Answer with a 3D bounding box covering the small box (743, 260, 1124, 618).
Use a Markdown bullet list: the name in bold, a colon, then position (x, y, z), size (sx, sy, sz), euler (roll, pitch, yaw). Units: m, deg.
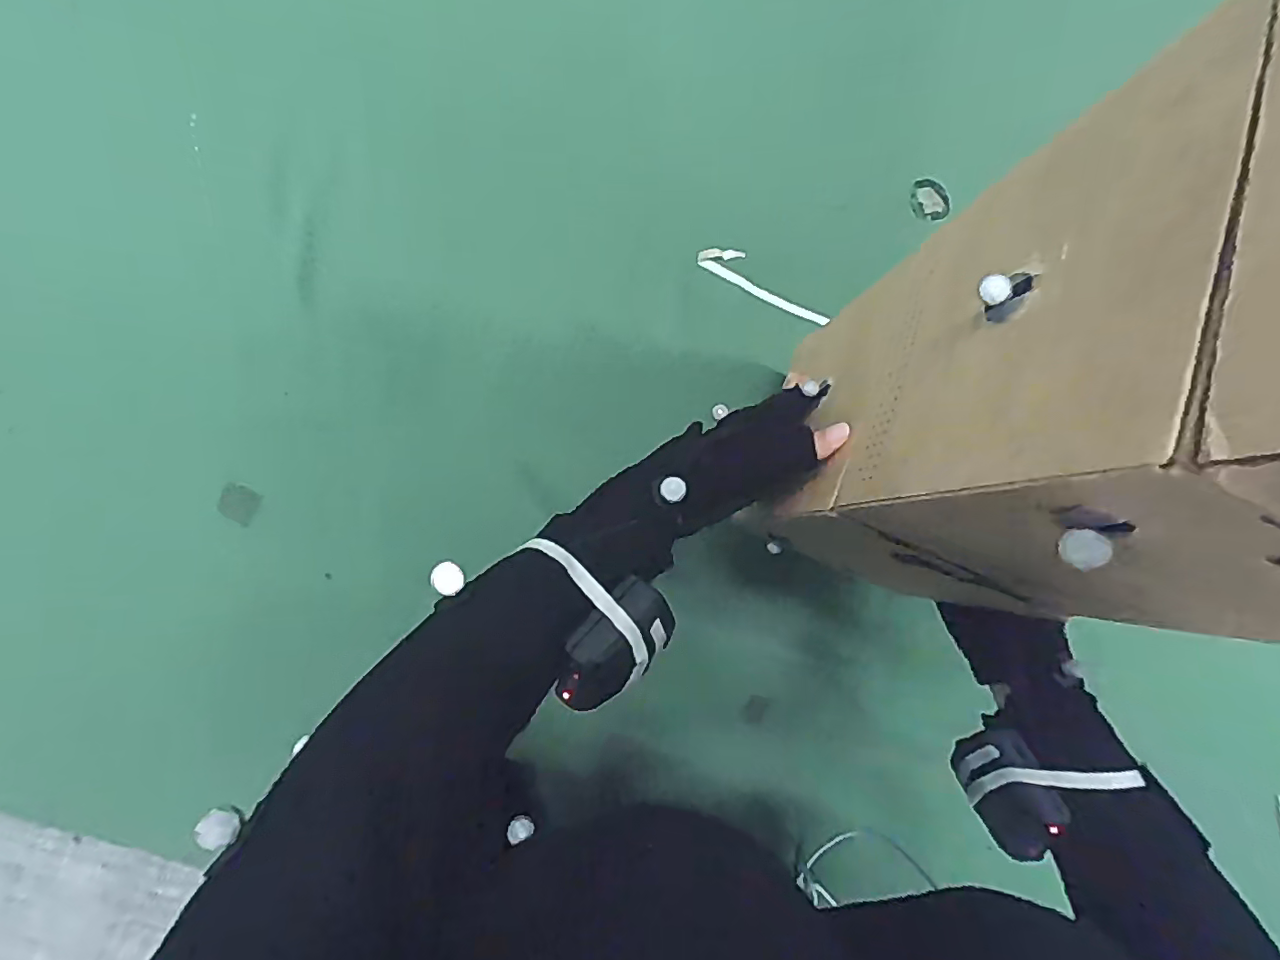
- **small box**: position (0.195, -0.018, 0.407), size (0.168, 0.176, 0.179), euler (24, 80, -6)
